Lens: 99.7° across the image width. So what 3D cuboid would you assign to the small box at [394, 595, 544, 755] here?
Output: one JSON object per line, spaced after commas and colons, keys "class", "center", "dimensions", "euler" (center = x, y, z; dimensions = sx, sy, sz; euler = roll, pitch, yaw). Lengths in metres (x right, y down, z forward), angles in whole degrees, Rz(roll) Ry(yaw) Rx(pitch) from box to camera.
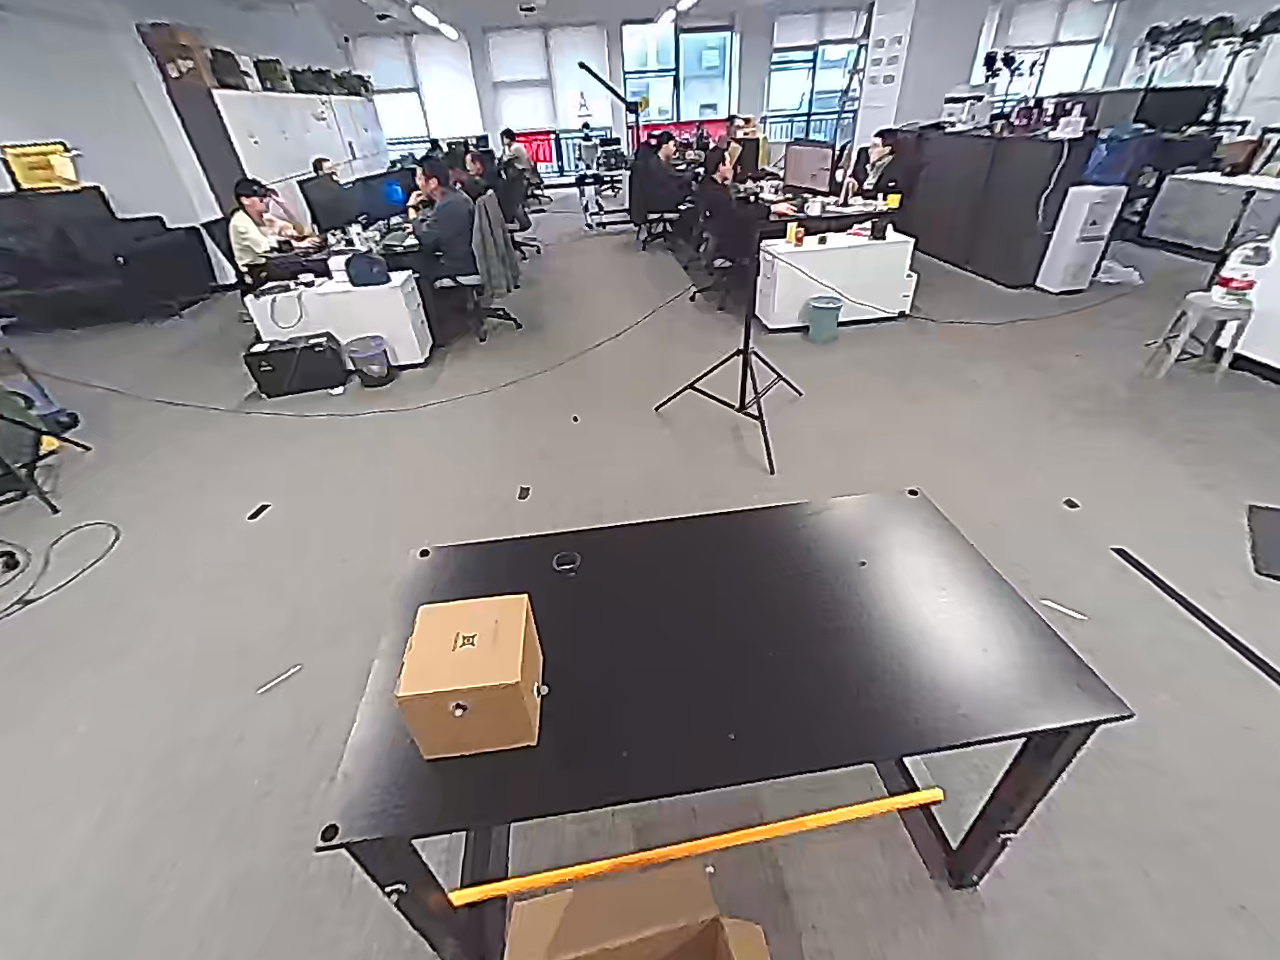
{"class": "small box", "center": [-0.252, 0.305, 0.844], "dimensions": [0.179, 0.176, 0.168], "euler": [-6, 36, -4]}
